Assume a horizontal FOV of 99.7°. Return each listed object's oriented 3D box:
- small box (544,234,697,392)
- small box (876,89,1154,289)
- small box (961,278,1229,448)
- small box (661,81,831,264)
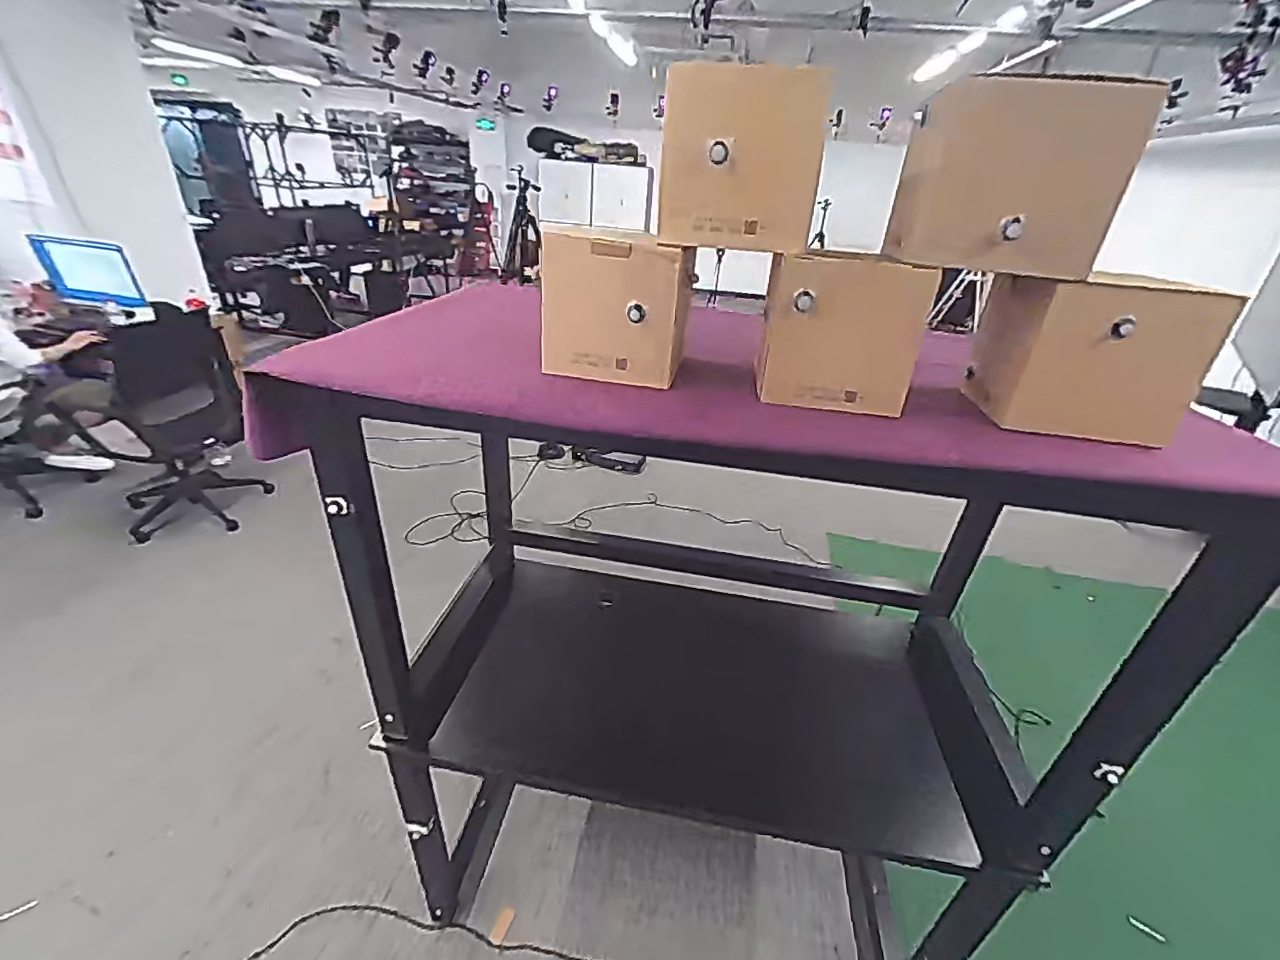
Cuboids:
[{"bbox_3d":[-0.020,-0.226,0.722,0.168,0.176,0.179,10,28,7],"label":"small box"},{"bbox_3d":[0.389,-0.315,0.604,0.179,0.176,0.168,10,28,8],"label":"small box"},{"bbox_3d":[0.523,-0.150,0.663,0.179,0.176,0.168,8,28,7],"label":"small box"},{"bbox_3d":[0.119,-0.357,0.645,0.168,0.176,0.179,7,27,7],"label":"small box"}]
